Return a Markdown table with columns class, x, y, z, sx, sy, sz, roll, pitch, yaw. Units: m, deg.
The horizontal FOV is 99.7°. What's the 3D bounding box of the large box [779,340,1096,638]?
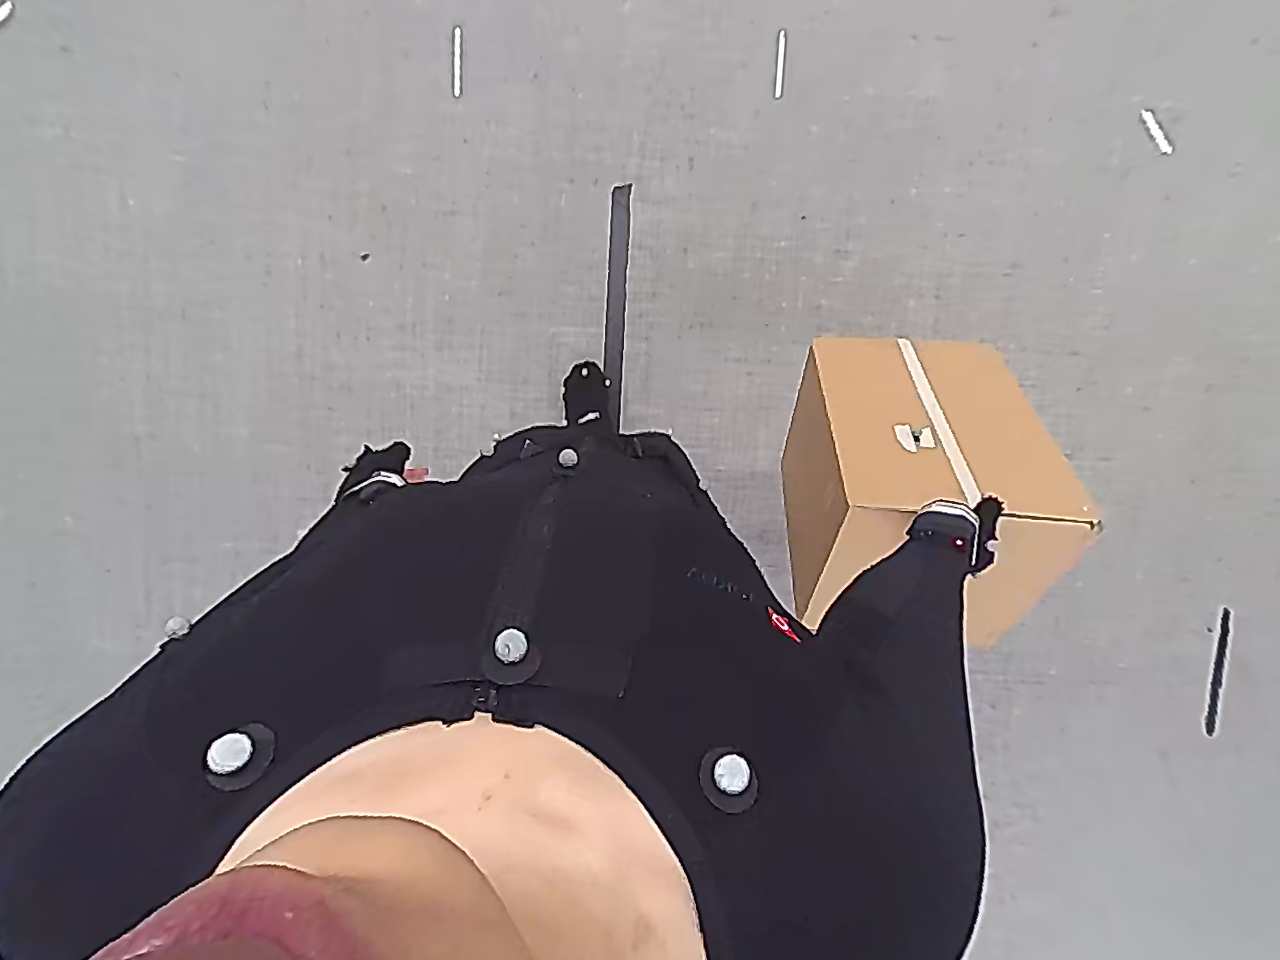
| class | x | y | z | sx | sy | sz | roll | pitch | yaw |
| --- | --- | --- | --- | --- | --- | --- | --- | --- | --- |
| large box | 0.441 | 0.008 | 0.935 | 0.320 | 0.408 | 0.320 | 4 | 137 | 3 |
